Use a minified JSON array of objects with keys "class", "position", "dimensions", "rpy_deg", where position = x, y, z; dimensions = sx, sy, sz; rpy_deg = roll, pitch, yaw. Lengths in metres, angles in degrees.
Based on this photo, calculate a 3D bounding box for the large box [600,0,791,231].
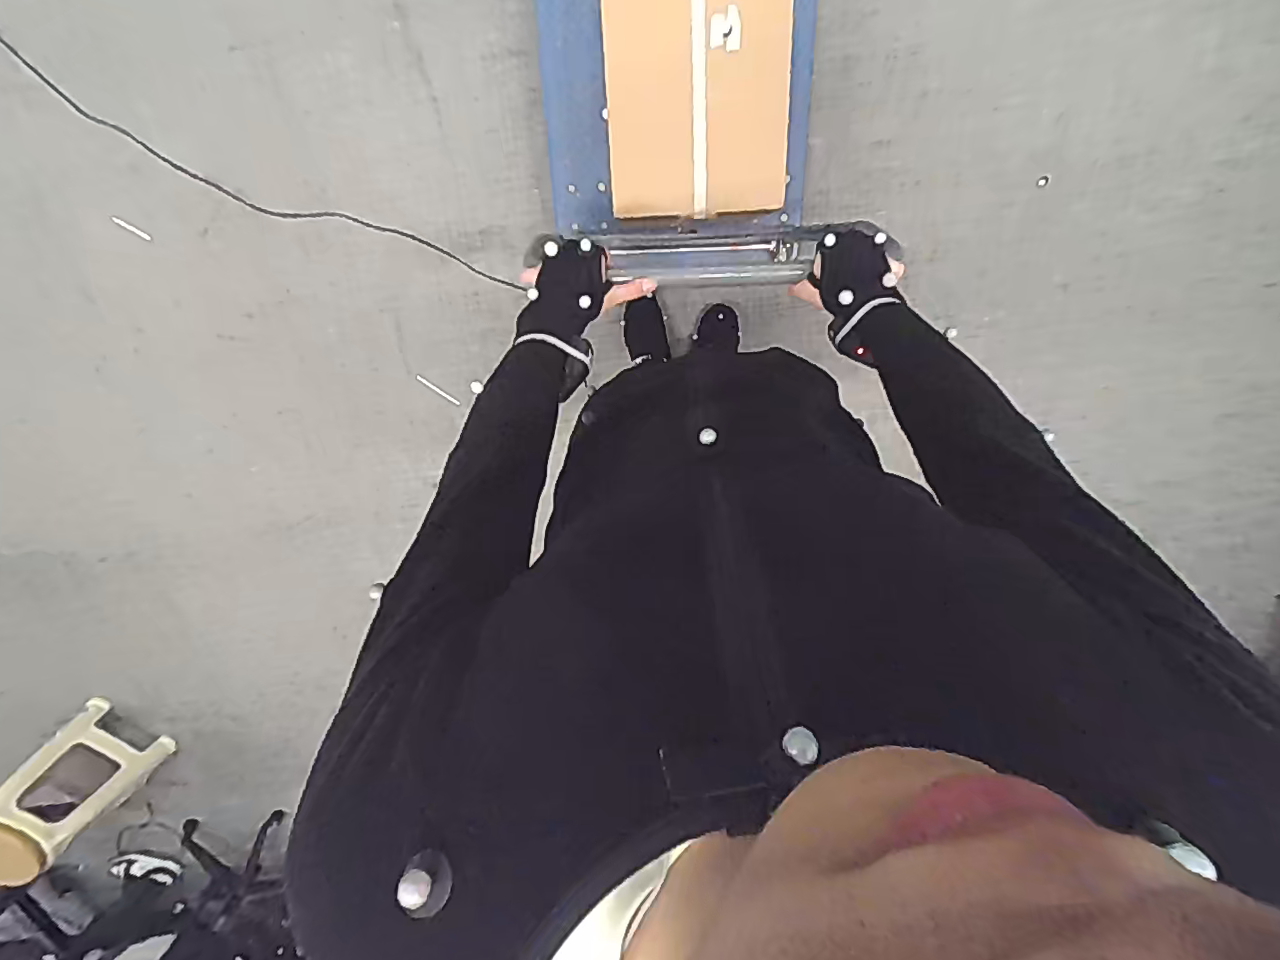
[{"class":"large box","position":[0.099,-0.725,1.055],"dimensions":[0.320,0.320,0.408],"rpy_deg":[-2,111,1]}]
